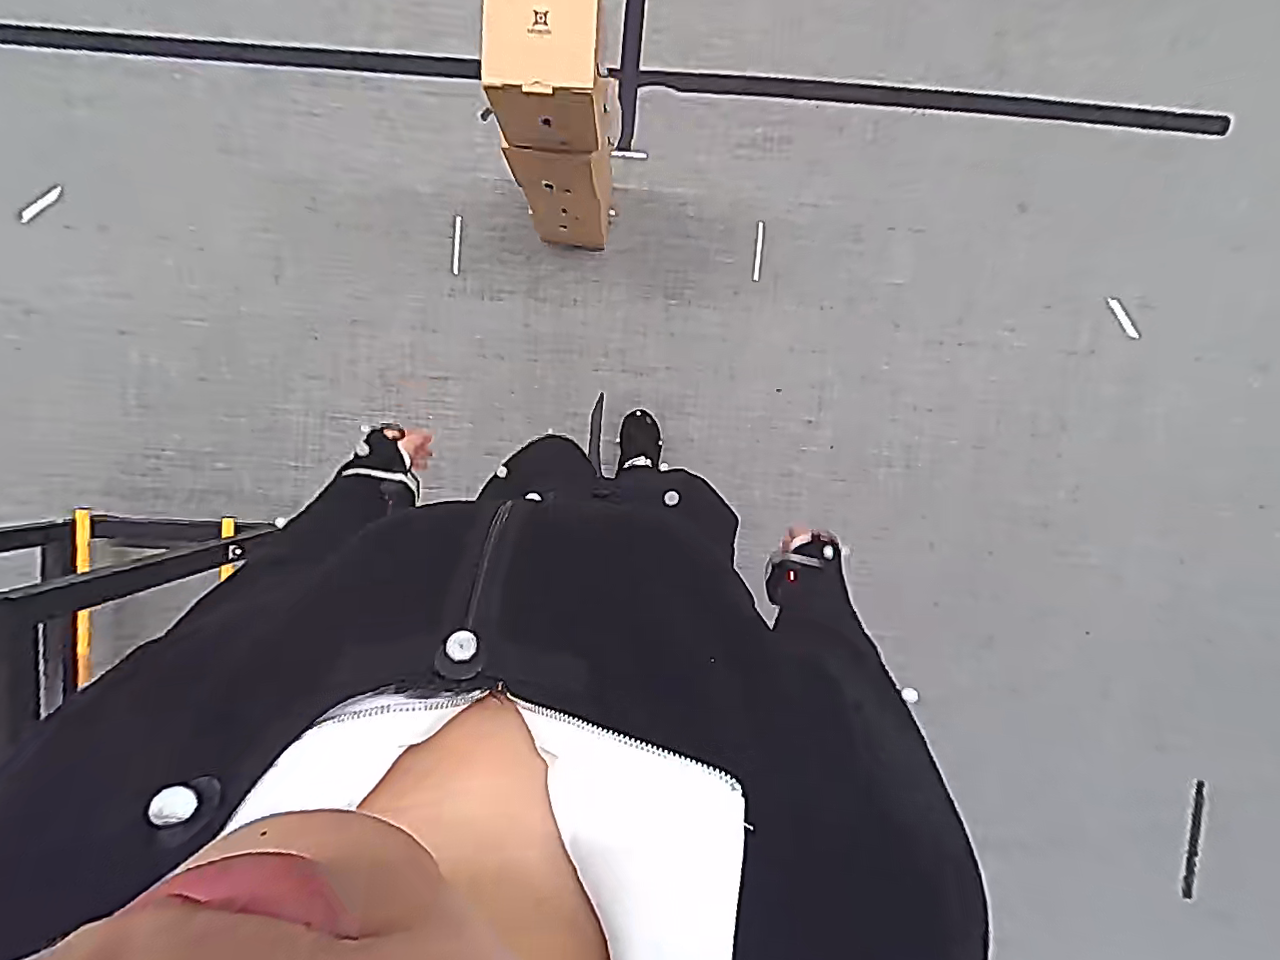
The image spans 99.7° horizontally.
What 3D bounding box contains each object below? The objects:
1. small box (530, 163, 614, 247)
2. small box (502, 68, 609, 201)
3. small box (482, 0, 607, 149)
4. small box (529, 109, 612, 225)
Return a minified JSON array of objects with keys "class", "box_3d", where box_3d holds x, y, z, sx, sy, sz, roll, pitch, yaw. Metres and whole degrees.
[{"class":"small box","box_3d":[-0.164,-0.697,1.345,0.179,0.176,0.168,8,95,-2]},{"class":"small box","box_3d":[-0.151,-0.661,1.020,0.168,0.176,0.179,8,96,-1]},{"class":"small box","box_3d":[-0.142,-0.656,0.856,0.168,0.176,0.179,4,95,-1]},{"class":"small box","box_3d":[-0.153,-0.688,1.181,0.168,0.176,0.179,8,95,-1]}]
